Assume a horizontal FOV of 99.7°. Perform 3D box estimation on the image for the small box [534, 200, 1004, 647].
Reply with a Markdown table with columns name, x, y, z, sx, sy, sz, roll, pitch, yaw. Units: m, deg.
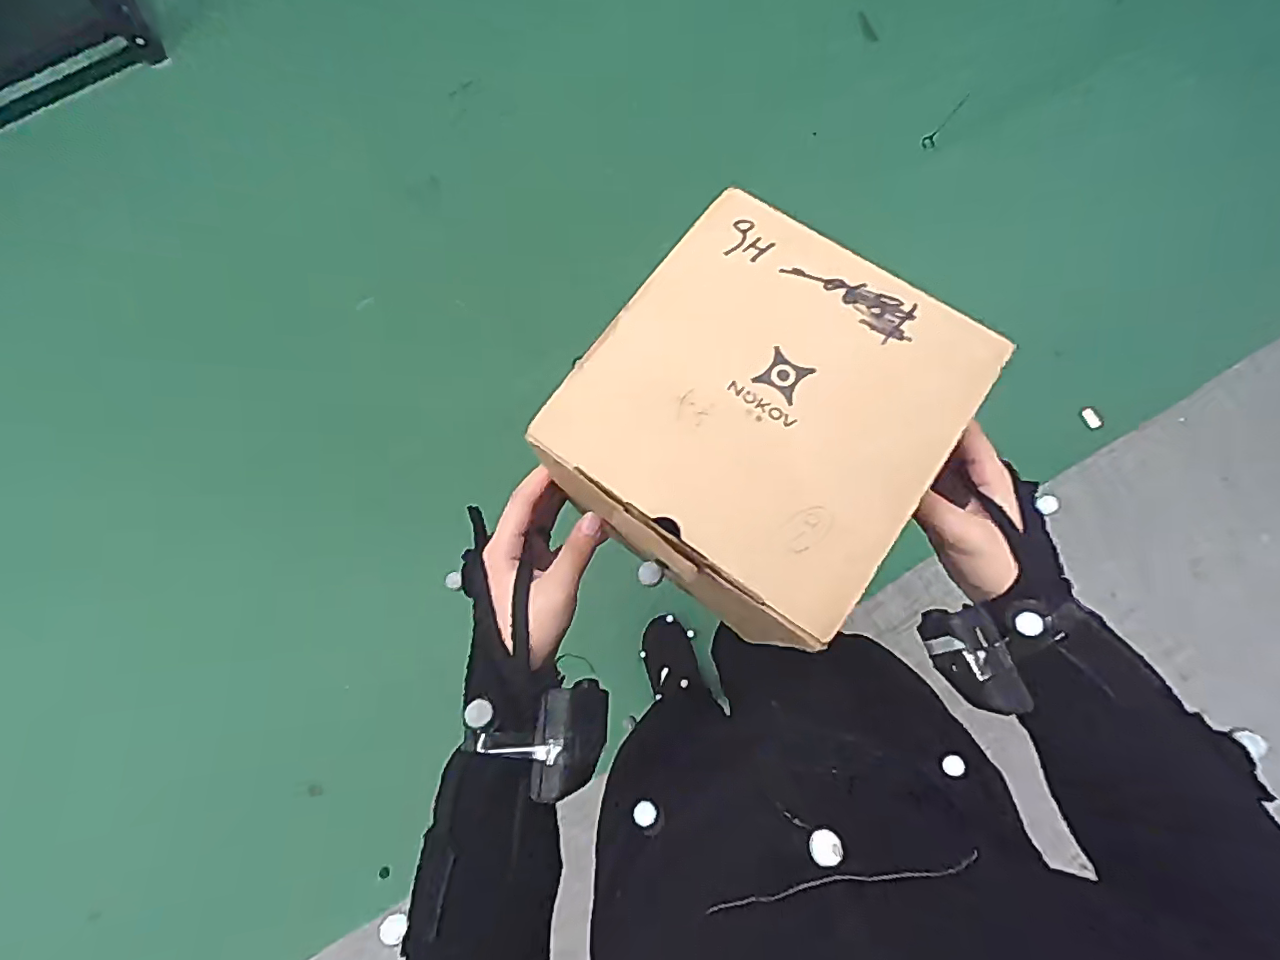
| name | x | y | z | sx | sy | sz | roll | pitch | yaw |
| --- | --- | --- | --- | --- | --- | --- | --- | --- | --- |
| small box | 0.067 | -0.019 | 0.339 | 0.168 | 0.176 | 0.179 | 36 | 80 | 11 |
